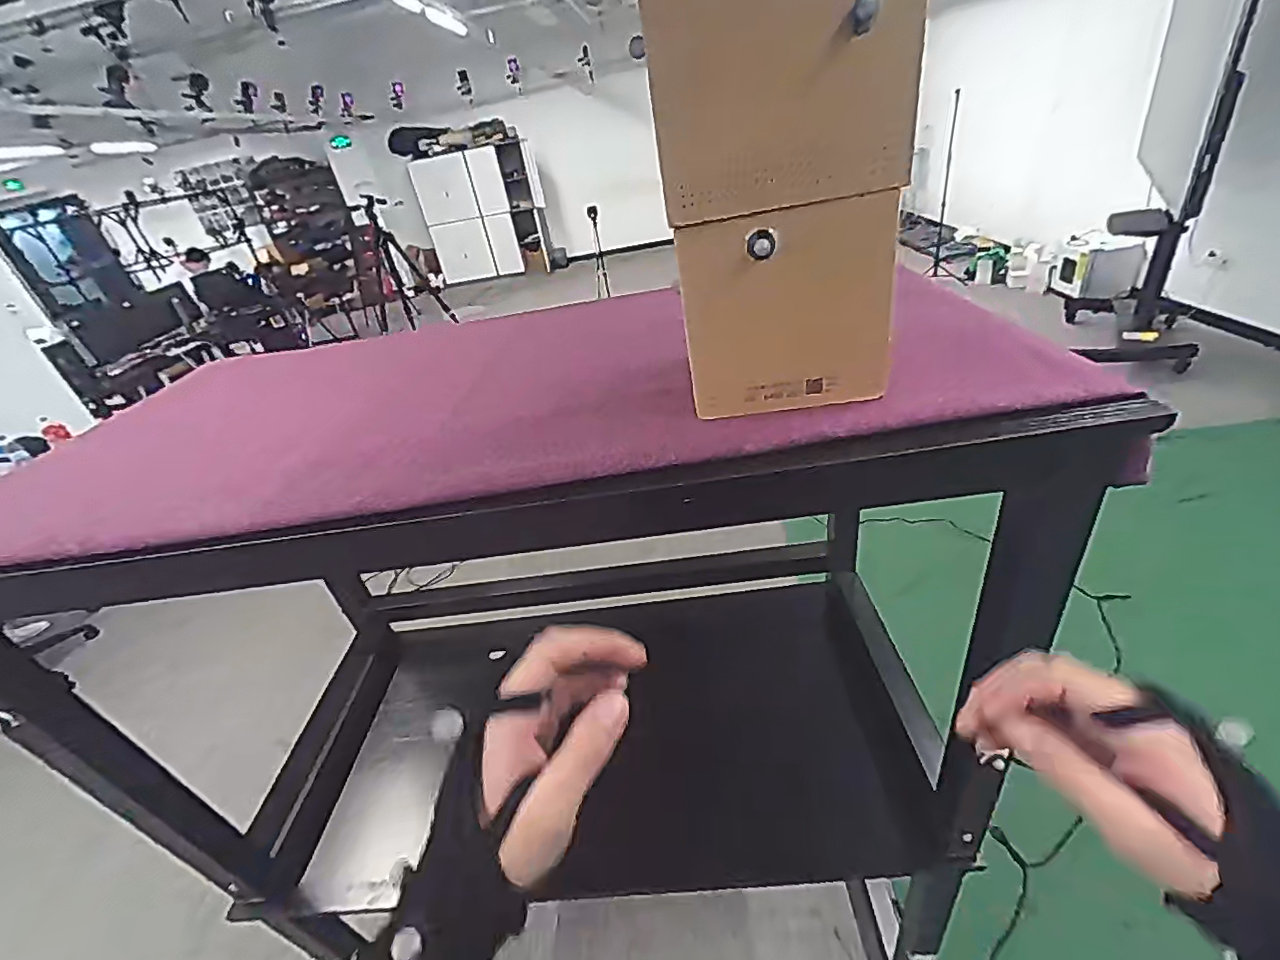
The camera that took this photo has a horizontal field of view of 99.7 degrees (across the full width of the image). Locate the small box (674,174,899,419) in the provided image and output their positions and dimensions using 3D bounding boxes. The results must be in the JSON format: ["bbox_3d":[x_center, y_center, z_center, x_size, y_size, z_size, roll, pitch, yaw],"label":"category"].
[{"bbox_3d":[0.127,-0.174,0.509,0.168,0.176,0.179,-7,32,10],"label":"small box"}]
